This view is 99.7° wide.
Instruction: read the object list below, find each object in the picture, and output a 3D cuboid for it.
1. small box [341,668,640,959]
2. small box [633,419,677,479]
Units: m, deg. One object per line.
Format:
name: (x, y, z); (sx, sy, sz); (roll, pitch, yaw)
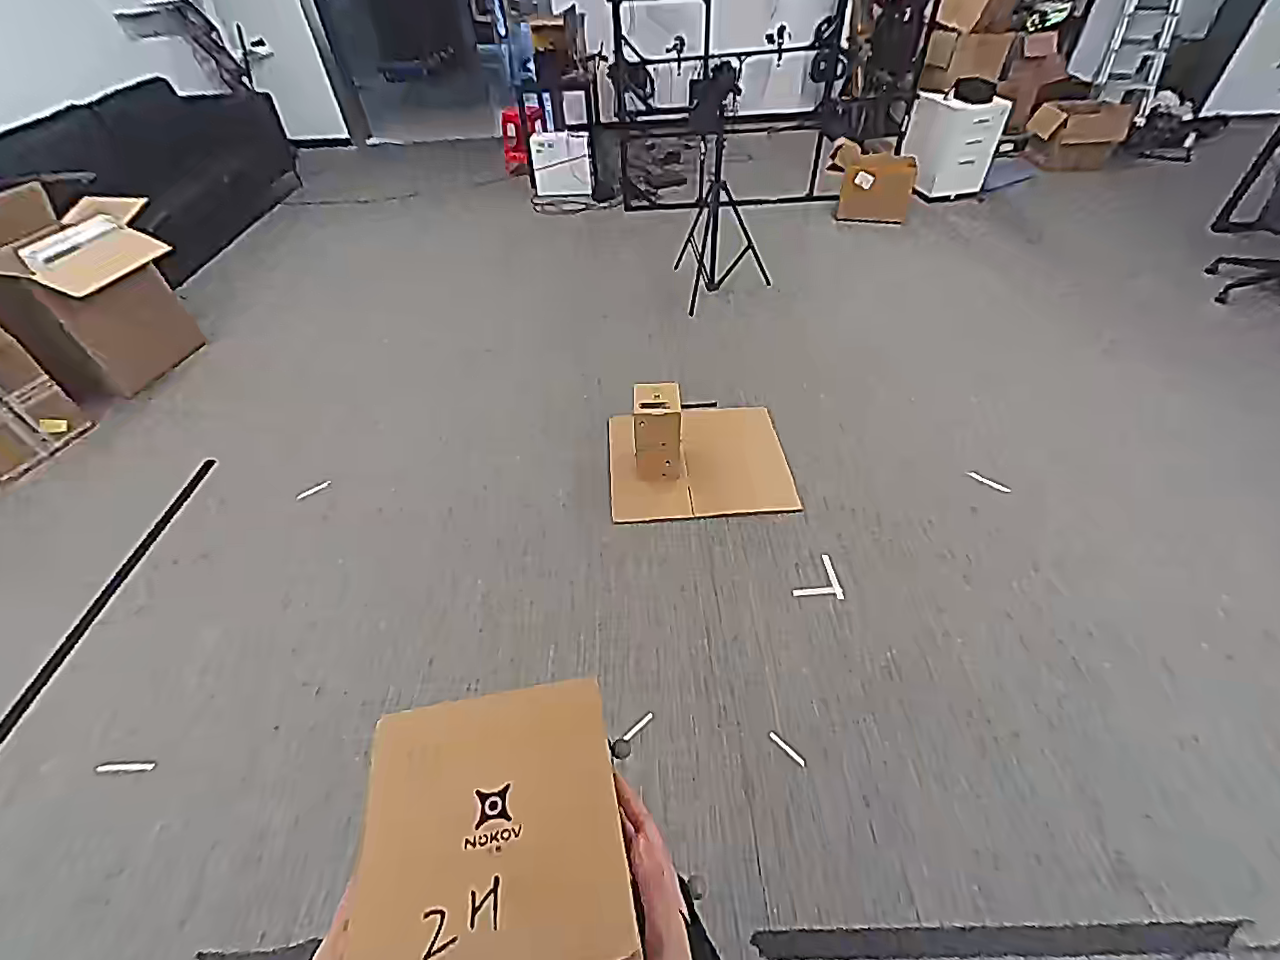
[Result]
small box: (-0.097, 0.274, 0.407); (0.168, 0.176, 0.179); (-8, 44, -9)
small box: (0.060, -0.119, 2.097); (0.168, 0.176, 0.179); (0, 45, 1)
